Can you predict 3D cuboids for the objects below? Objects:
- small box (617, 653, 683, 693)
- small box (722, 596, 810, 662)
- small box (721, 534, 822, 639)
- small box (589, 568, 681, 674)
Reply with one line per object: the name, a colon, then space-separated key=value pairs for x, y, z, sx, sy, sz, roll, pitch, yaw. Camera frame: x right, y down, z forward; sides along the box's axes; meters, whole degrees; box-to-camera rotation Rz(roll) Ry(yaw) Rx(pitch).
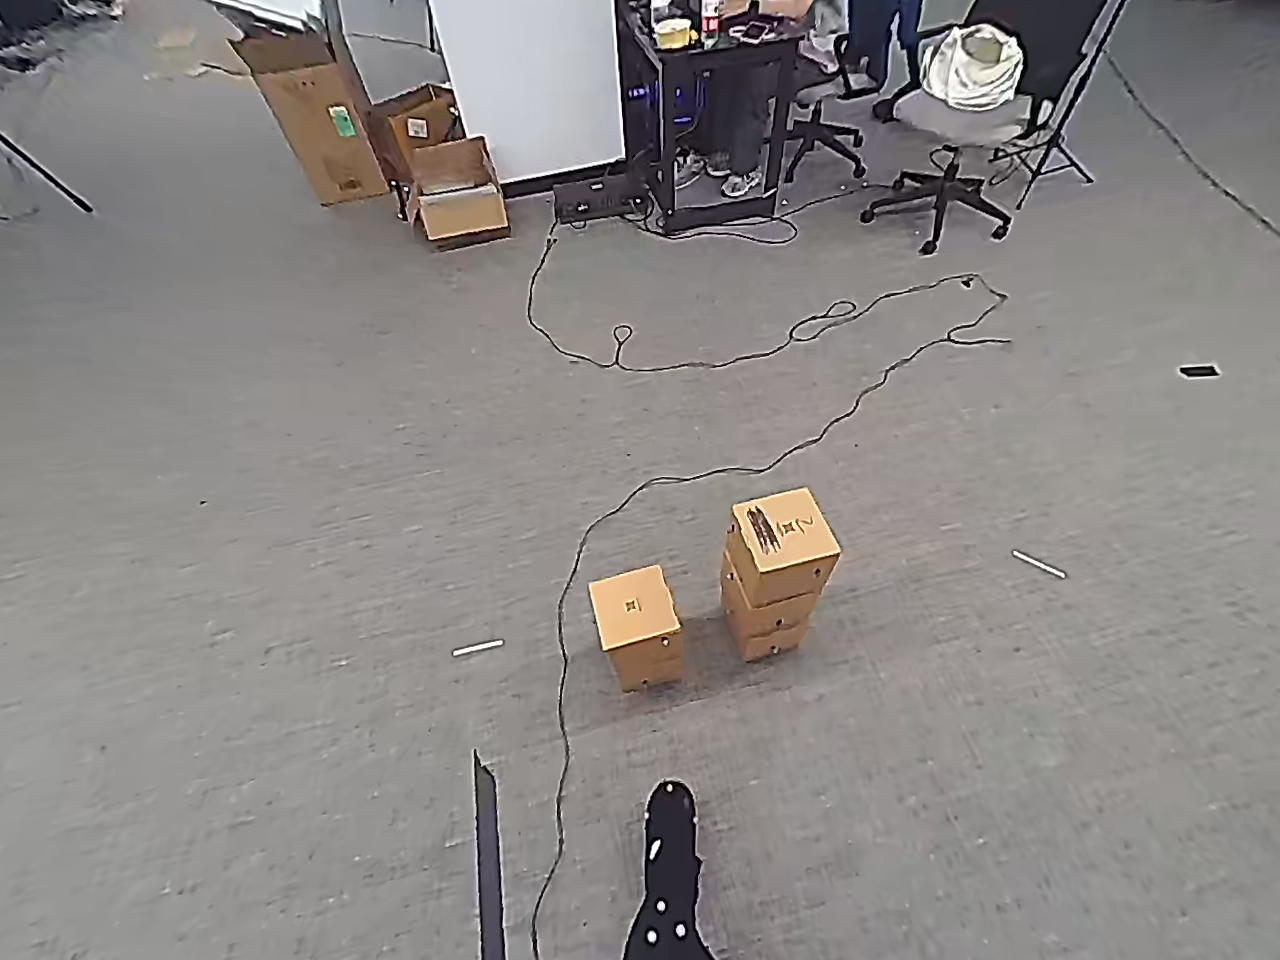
small box: x=0.011 y=0.429 z=1.399 sx=0.168 sy=0.176 sz=0.179 roll=-12 pitch=55 yaw=-3
small box: x=0.322 y=0.355 z=1.426 sx=0.168 sy=0.176 sz=0.179 roll=-14 pitch=54 yaw=-6
small box: x=0.305 y=0.258 z=1.295 sx=0.179 sy=0.176 sz=0.168 roll=-14 pitch=54 yaw=-7
small box: x=-0.008 y=0.336 z=1.267 sx=0.179 sy=0.176 sz=0.168 roll=-15 pitch=54 yaw=-6
